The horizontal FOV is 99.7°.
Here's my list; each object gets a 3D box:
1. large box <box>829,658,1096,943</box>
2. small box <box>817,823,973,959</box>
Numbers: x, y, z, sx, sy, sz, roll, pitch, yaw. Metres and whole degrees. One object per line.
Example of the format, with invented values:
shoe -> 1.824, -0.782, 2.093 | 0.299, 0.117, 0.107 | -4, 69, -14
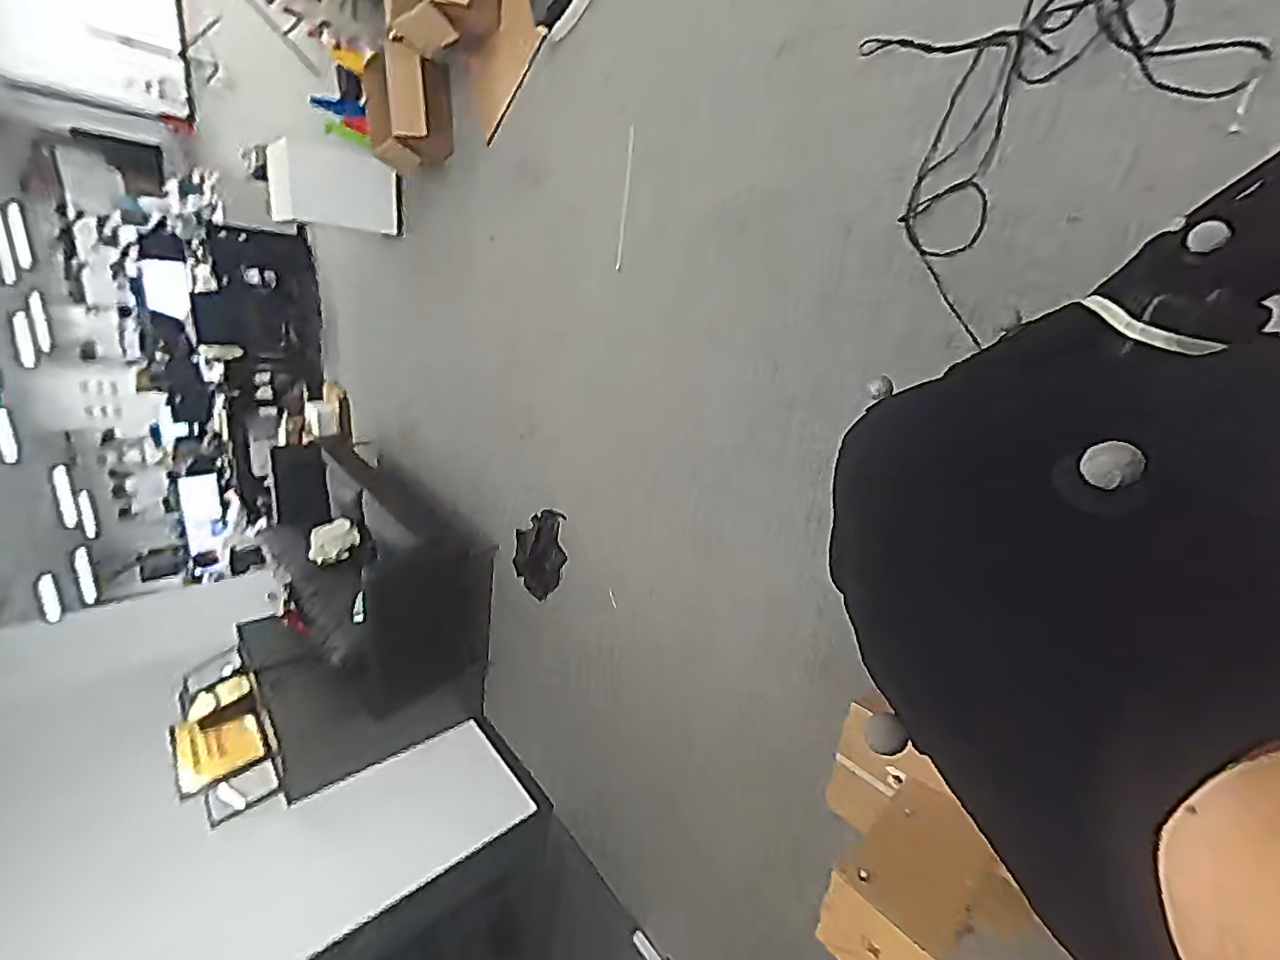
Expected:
large box -> 0.715, 0.680, 1.229 | 0.408, 0.320, 0.320 | 25, 115, 44
small box -> 0.440, 0.749, 0.933 | 0.179, 0.176, 0.168 | 24, 115, 44
